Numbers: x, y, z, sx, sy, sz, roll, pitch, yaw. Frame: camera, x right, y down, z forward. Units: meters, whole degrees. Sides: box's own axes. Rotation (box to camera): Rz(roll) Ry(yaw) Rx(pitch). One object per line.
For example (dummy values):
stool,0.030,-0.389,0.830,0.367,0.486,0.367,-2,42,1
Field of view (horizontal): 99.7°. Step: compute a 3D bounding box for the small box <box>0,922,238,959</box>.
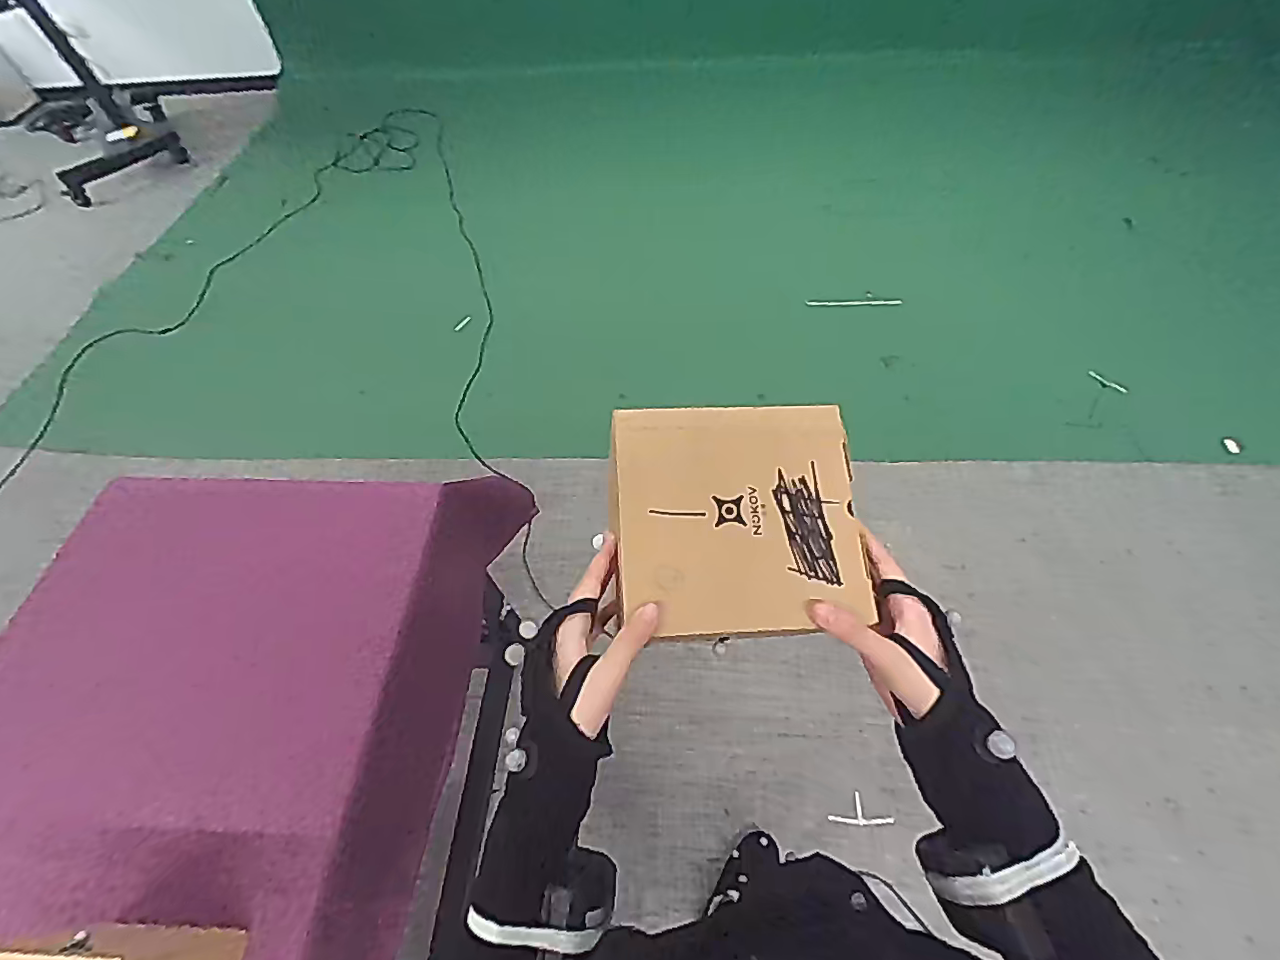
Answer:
small box,-0.514,0.522,0.480,0.168,0.176,0.179,0,57,5
